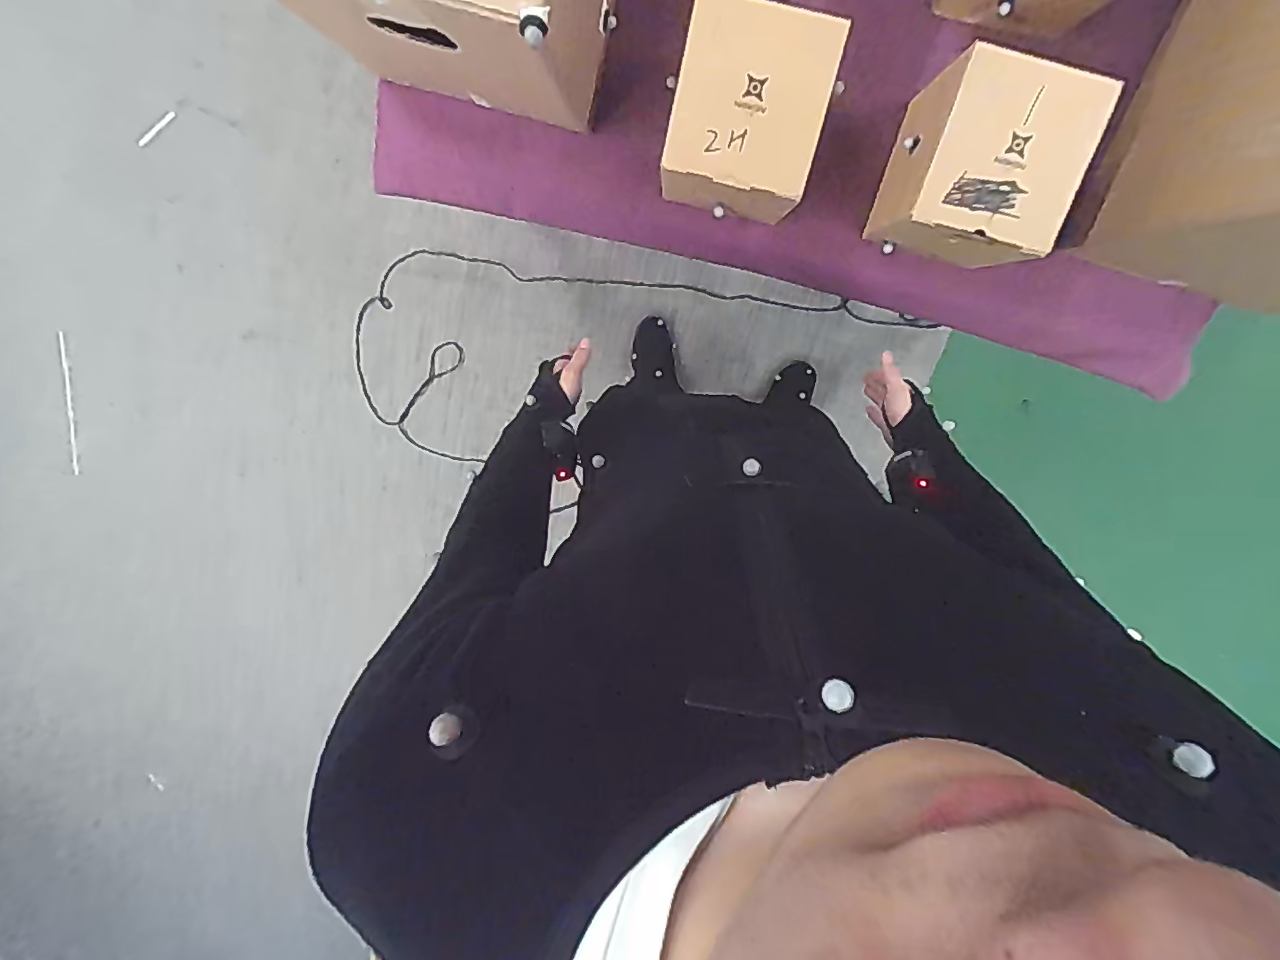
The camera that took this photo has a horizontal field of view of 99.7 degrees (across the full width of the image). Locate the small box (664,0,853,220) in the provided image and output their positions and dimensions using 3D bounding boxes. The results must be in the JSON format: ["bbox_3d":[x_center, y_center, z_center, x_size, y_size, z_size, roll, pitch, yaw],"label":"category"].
[{"bbox_3d":[0.126,-0.438,0.656,0.168,0.176,0.179,13,107,-1],"label":"small box"}]

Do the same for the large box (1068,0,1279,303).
[{"bbox_3d":[0.775,-0.421,0.555,0.320,0.320,0.408,16,109,0],"label":"large box"}]
